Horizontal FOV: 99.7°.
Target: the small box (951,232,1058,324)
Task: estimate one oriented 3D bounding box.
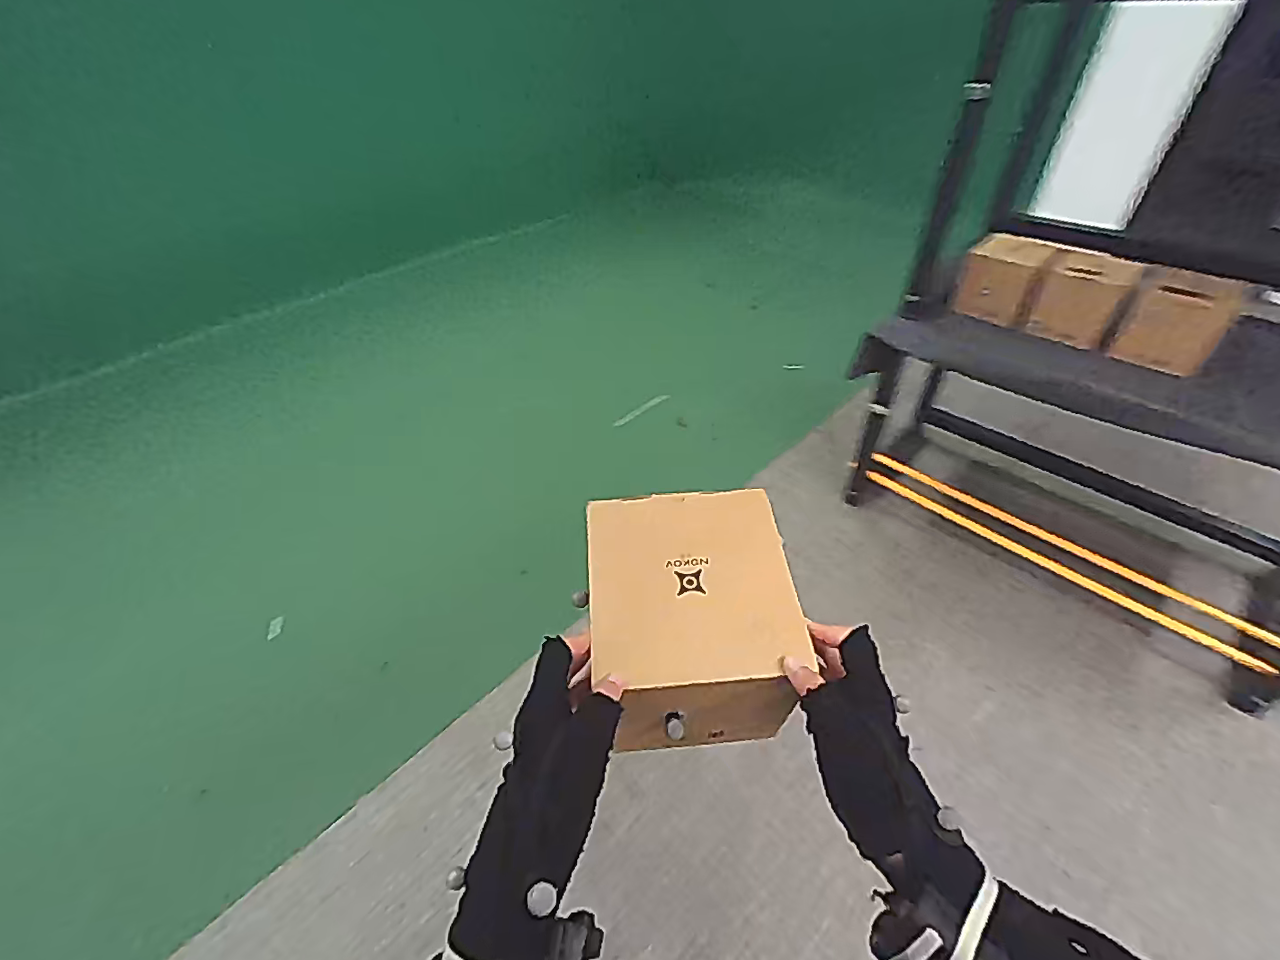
[{"bbox_3d":[0.981,-0.548,1.471,0.179,0.176,0.168,-34,52,-28],"label":"small box"}]
